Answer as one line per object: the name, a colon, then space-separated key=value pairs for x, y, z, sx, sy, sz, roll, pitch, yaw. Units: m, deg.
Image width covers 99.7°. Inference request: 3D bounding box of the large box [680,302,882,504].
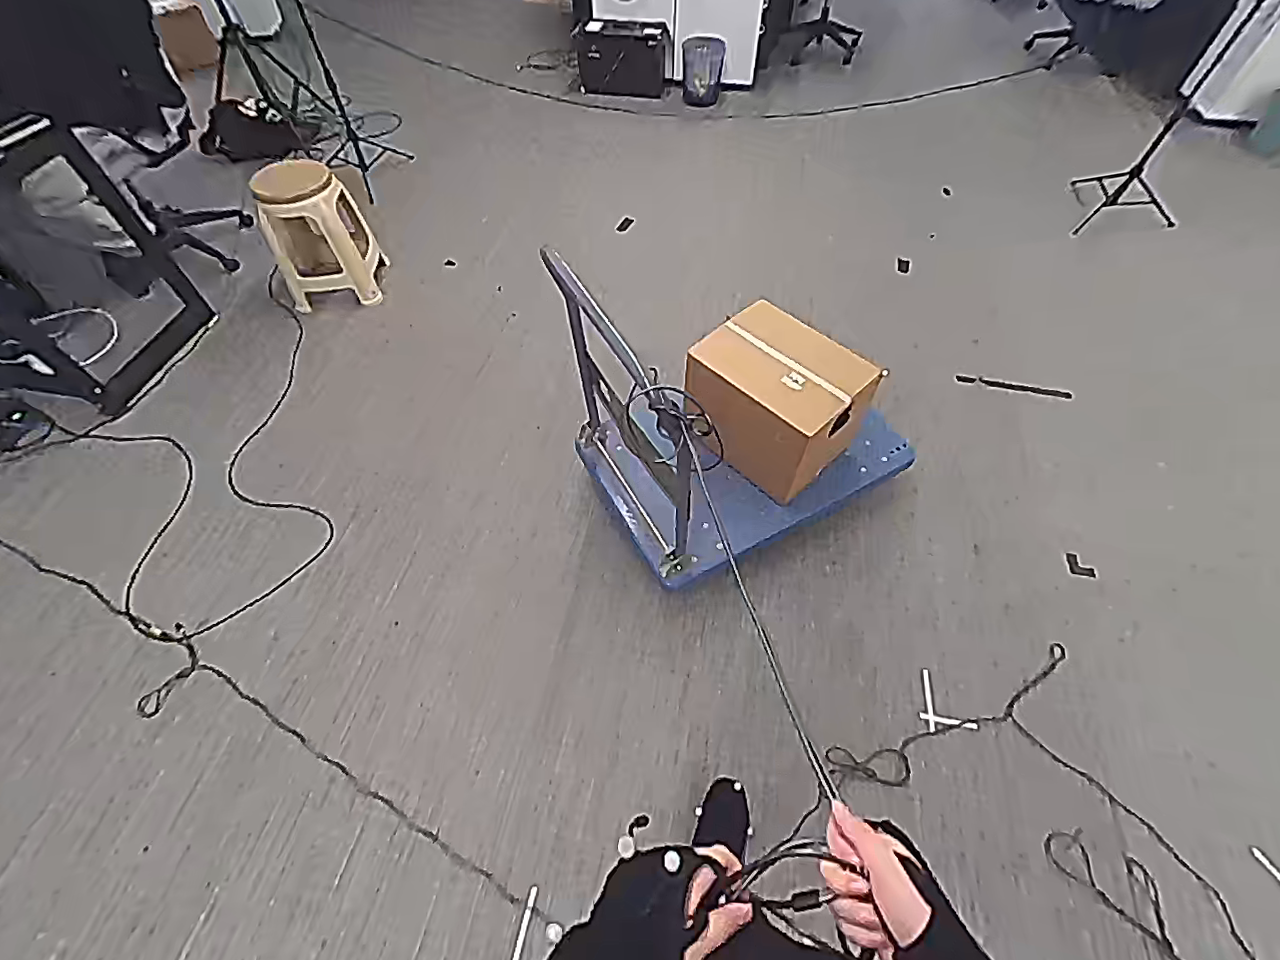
large box: x=0.364 y=-0.215 z=1.504 sx=0.320 sy=0.320 sz=0.408 roll=-39 pitch=65 yaw=-22
